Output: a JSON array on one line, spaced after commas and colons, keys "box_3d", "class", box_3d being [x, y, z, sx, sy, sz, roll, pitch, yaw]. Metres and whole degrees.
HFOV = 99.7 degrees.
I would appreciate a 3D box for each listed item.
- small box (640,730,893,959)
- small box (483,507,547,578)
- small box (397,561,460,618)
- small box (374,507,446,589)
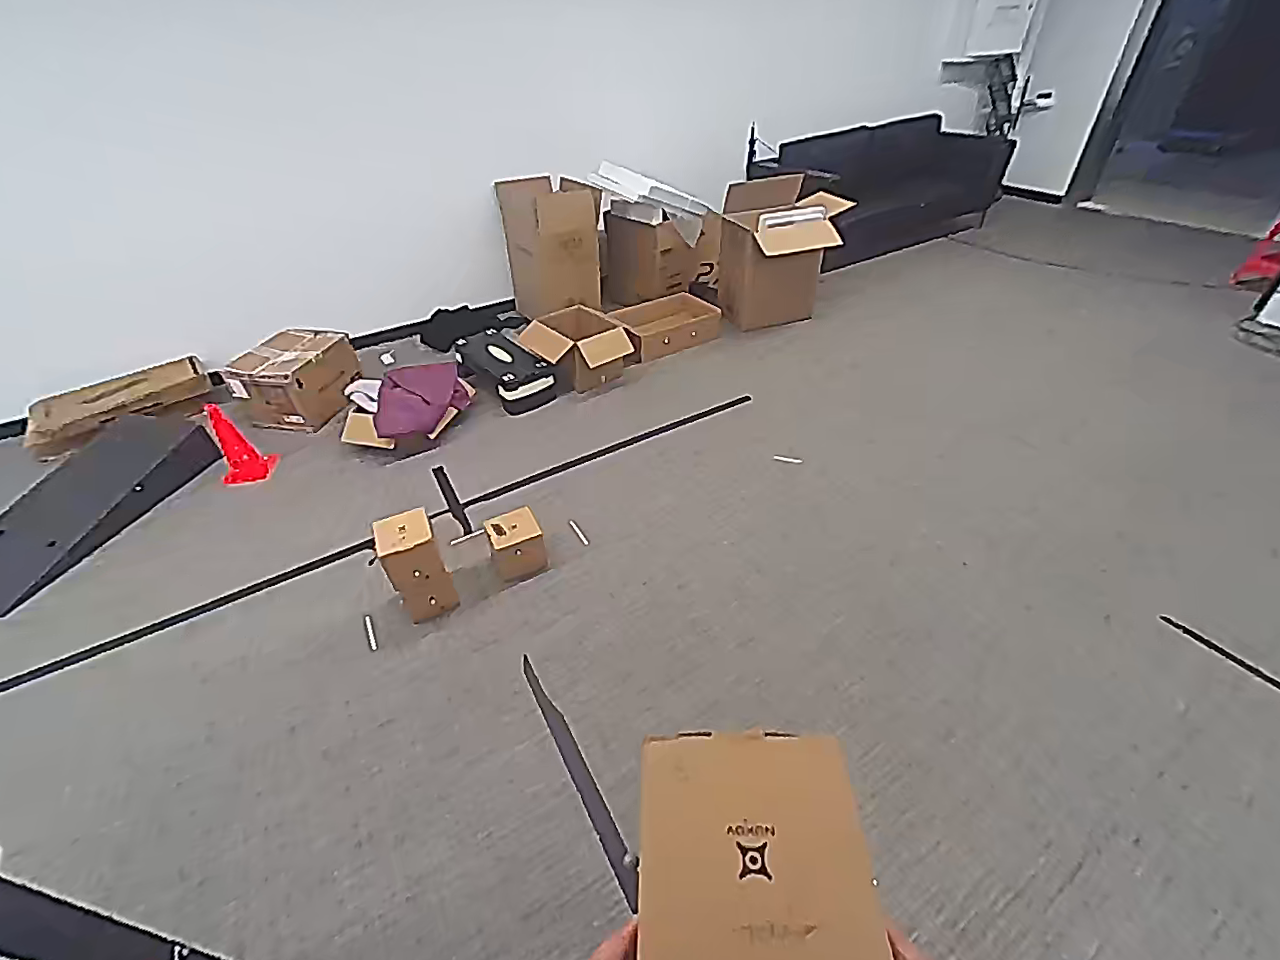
[{"box_3d": [0.085, 0.331, 0.445, 0.168, 0.176, 0.179, -1, 41, 3], "class": "small box"}, {"box_3d": [-0.460, 0.235, 2.004, 0.179, 0.176, 0.168, -20, 43, -21], "class": "small box"}, {"box_3d": [-0.745, 0.354, 1.877, 0.168, 0.176, 0.179, -23, 45, -22], "class": "small box"}, {"box_3d": [-0.753, 0.224, 1.773, 0.168, 0.176, 0.179, -20, 43, -18], "class": "small box"}]
